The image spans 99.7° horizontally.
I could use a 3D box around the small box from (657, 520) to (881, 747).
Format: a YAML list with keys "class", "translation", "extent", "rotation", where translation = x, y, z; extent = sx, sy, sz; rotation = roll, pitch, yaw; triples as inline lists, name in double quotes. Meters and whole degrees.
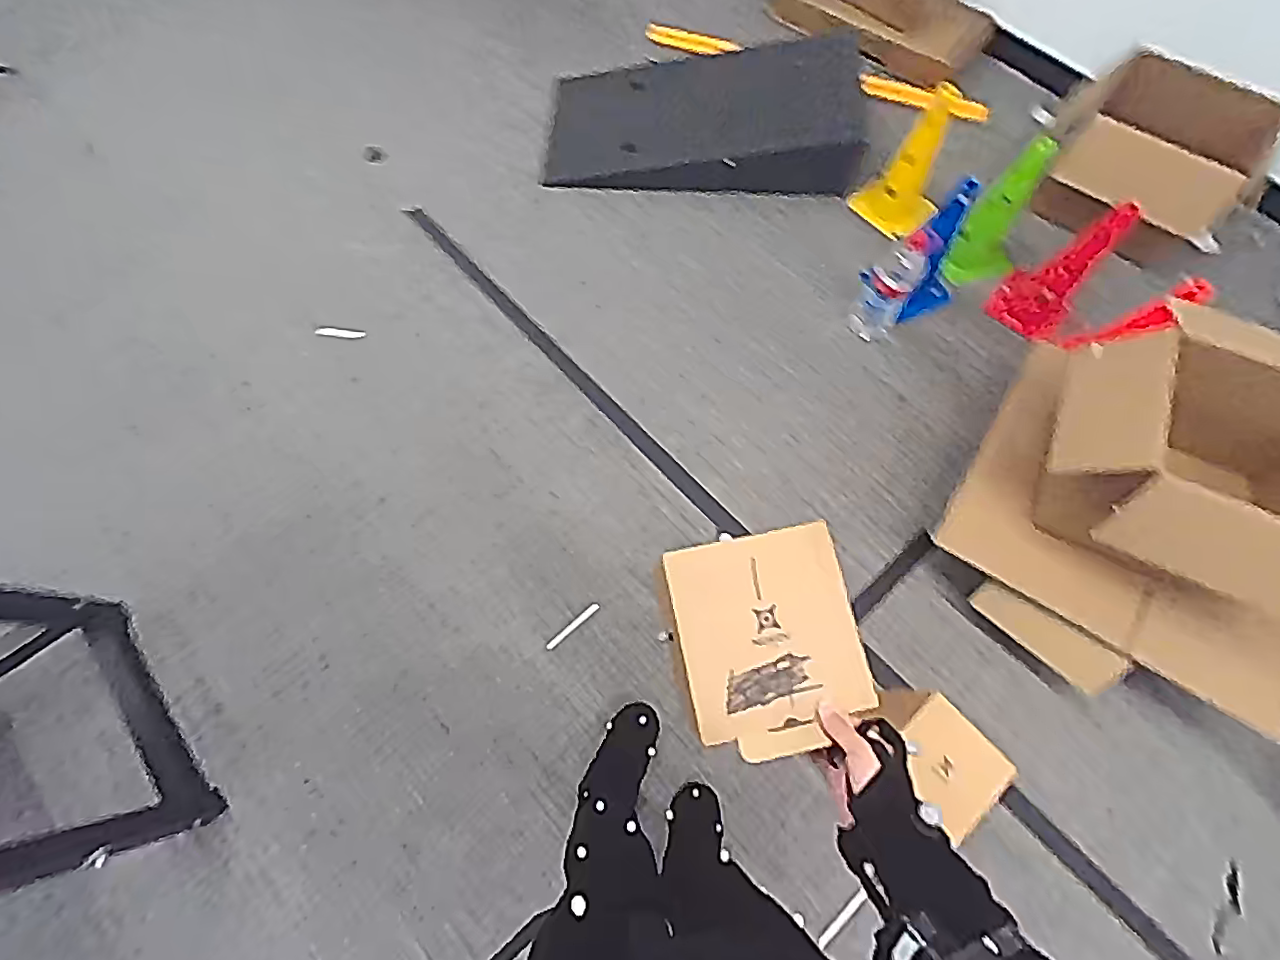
- class: "small box"
  translation: [0.117, 0.153, 0.569]
  extent: [0.168, 0.176, 0.179]
  rotation: [-11, 77, -5]

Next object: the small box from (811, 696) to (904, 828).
- class: "small box"
  translation: [0.486, 0.557, 1.106]
  extent: [0.168, 0.176, 0.179]
  rotation: [-35, 75, -11]

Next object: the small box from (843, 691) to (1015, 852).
- class: "small box"
  translation: [0.495, 0.496, 0.956]
  extent: [0.179, 0.176, 0.168]
  rotation: [-40, 76, -12]
